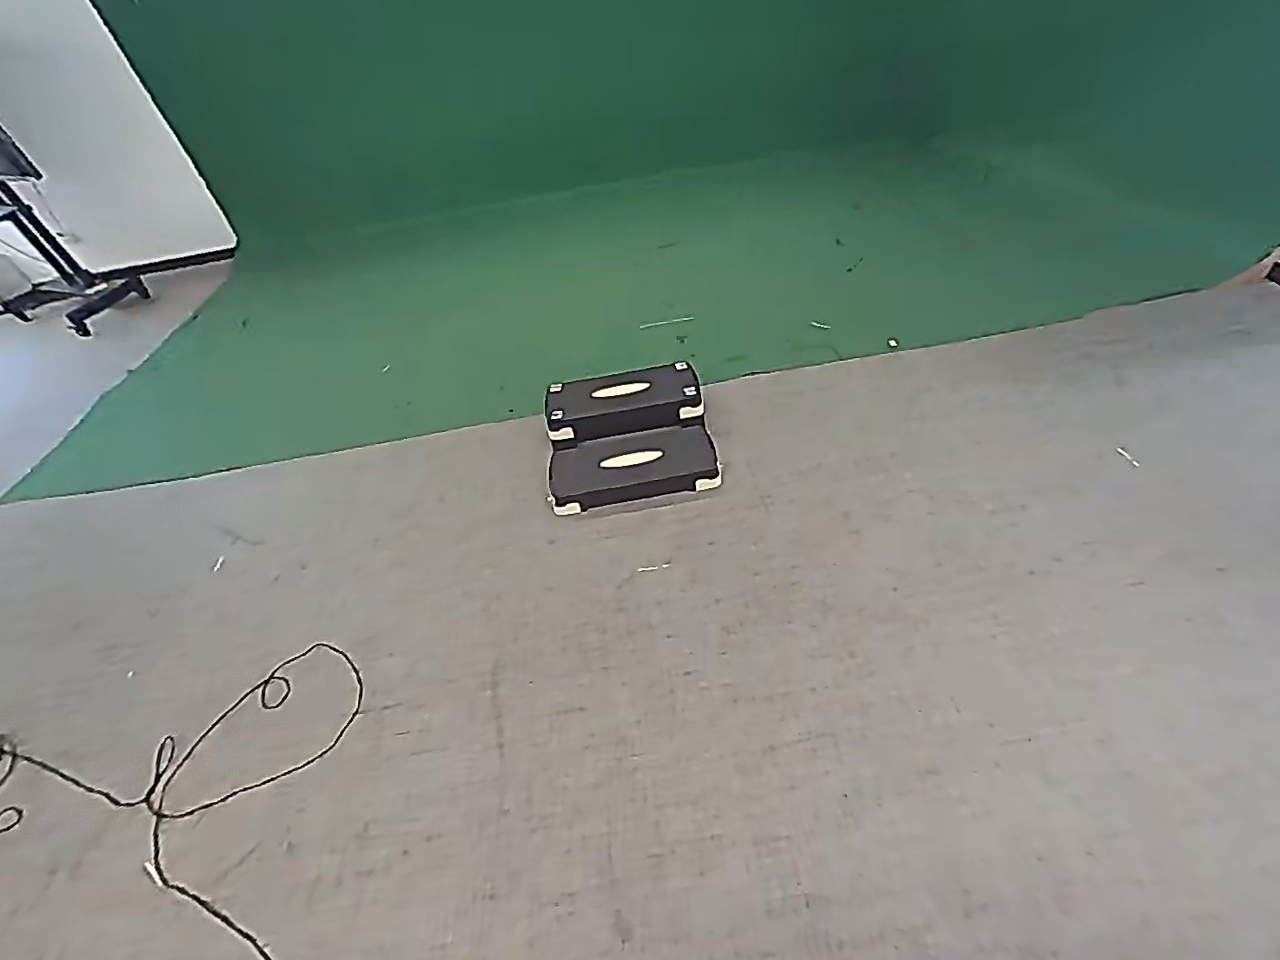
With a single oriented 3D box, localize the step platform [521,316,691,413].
[{"bbox_3d":[-0.135,-0.479,2.239,0.684,0.204,0.286,-11,45,0],"label":"step platform"}]
